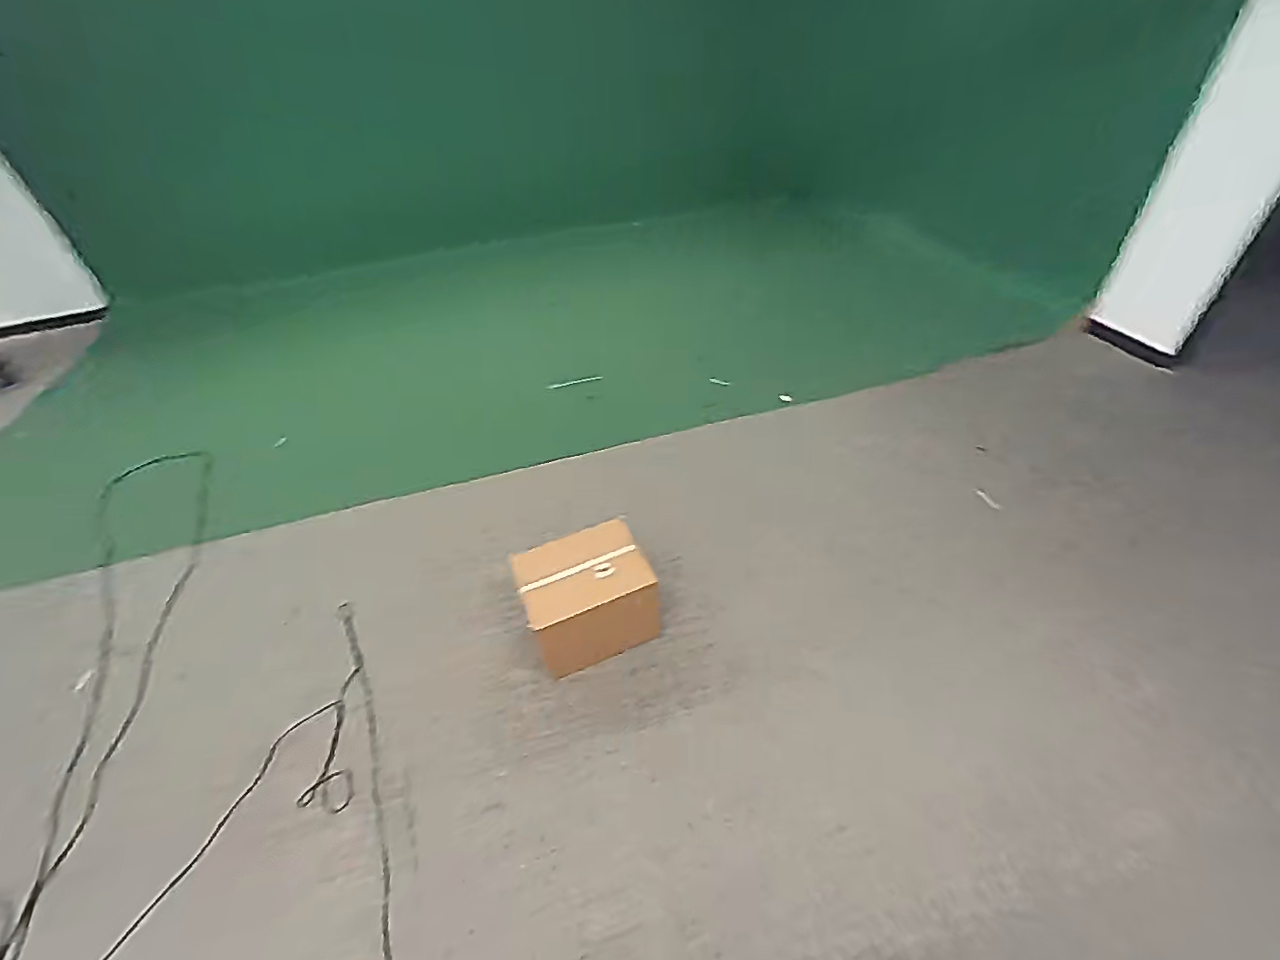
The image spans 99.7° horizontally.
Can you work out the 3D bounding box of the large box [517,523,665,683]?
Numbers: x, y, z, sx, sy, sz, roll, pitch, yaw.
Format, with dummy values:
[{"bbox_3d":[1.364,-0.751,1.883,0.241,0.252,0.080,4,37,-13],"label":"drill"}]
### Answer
[{"bbox_3d":[-0.162,0.412,1.838,0.408,0.320,0.320,-19,43,-14],"label":"large box"}]
